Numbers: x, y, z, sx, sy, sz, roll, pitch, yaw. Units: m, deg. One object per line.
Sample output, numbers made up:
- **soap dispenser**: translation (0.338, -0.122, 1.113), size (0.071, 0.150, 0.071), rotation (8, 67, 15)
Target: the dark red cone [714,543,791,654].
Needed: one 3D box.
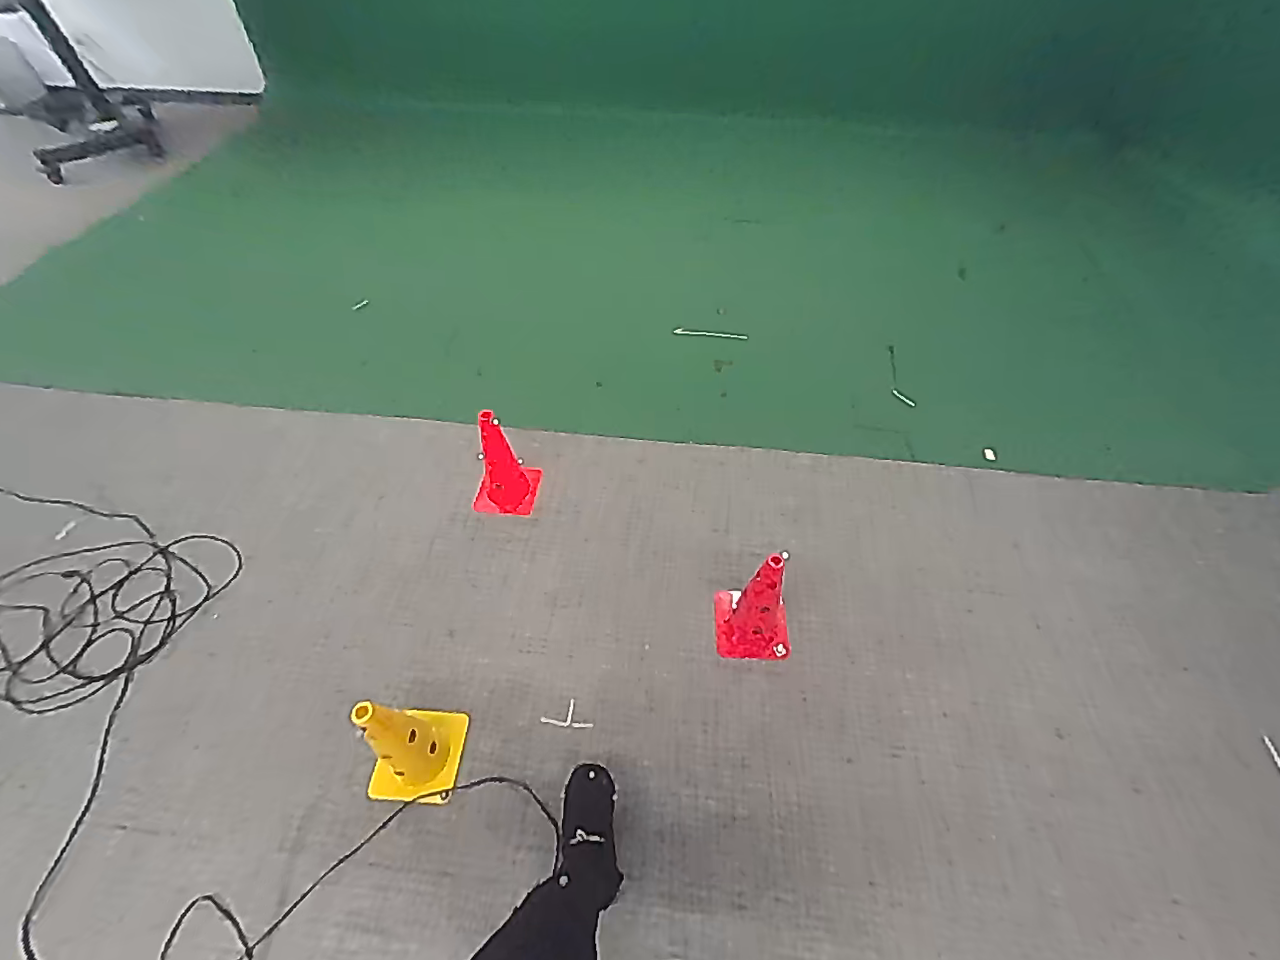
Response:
- **dark red cone**: translation (0.310, 0.283, 1.377), size (0.202, 0.394, 0.201), rotation (1, 50, 1)

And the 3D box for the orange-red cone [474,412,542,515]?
- **orange-red cone**: translation (-0.446, -0.072, 1.691), size (0.198, 0.360, 0.199), rotation (4, 53, 5)
